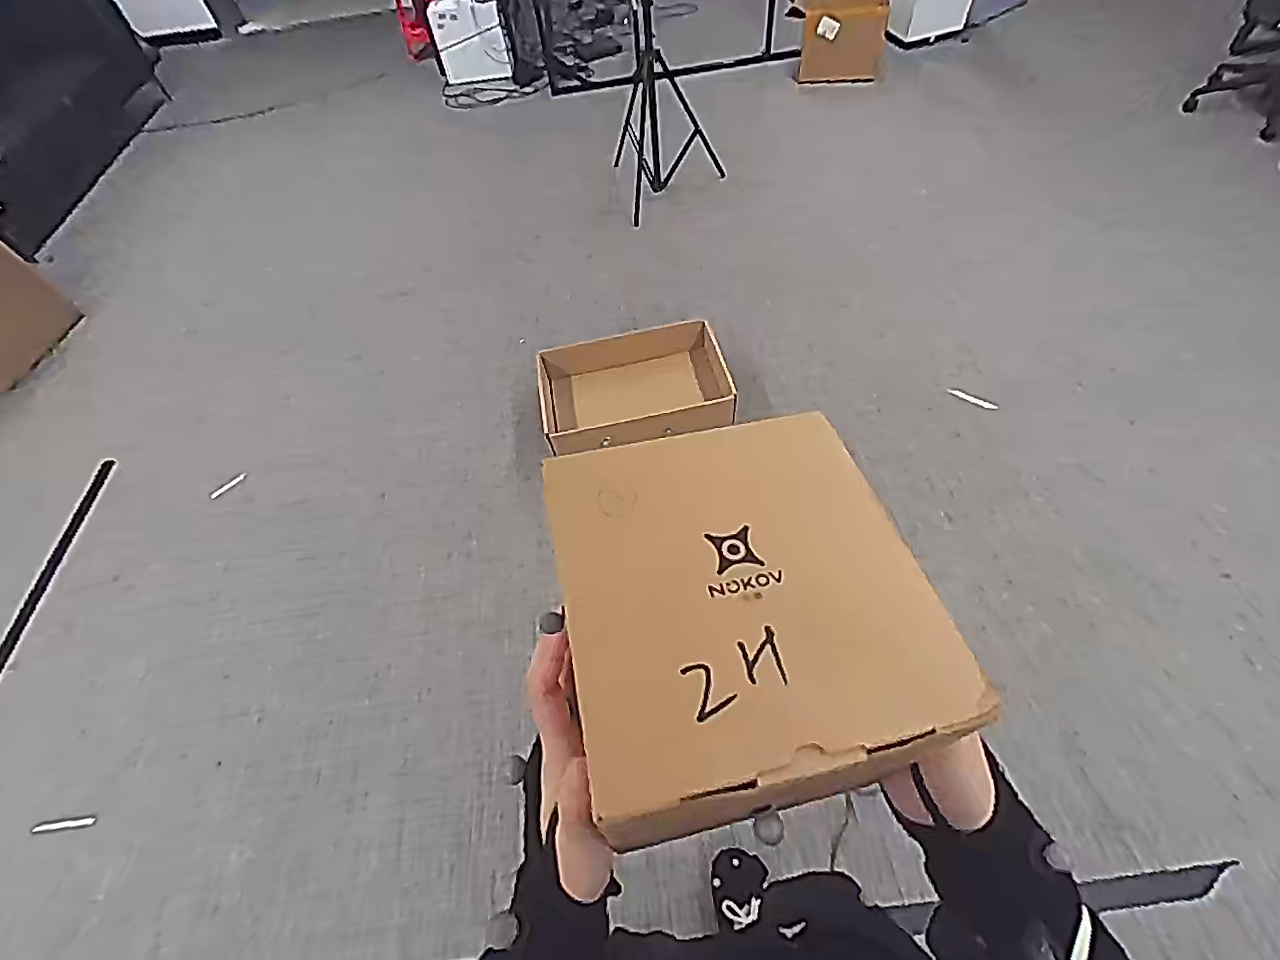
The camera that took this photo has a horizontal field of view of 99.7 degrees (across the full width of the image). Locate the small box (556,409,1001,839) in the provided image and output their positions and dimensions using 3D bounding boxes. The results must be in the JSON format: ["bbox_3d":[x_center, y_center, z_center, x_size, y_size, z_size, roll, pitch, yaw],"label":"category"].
[{"bbox_3d":[0.049,0.086,0.320,0.168,0.176,0.179,-10,53,-7],"label":"small box"}]
